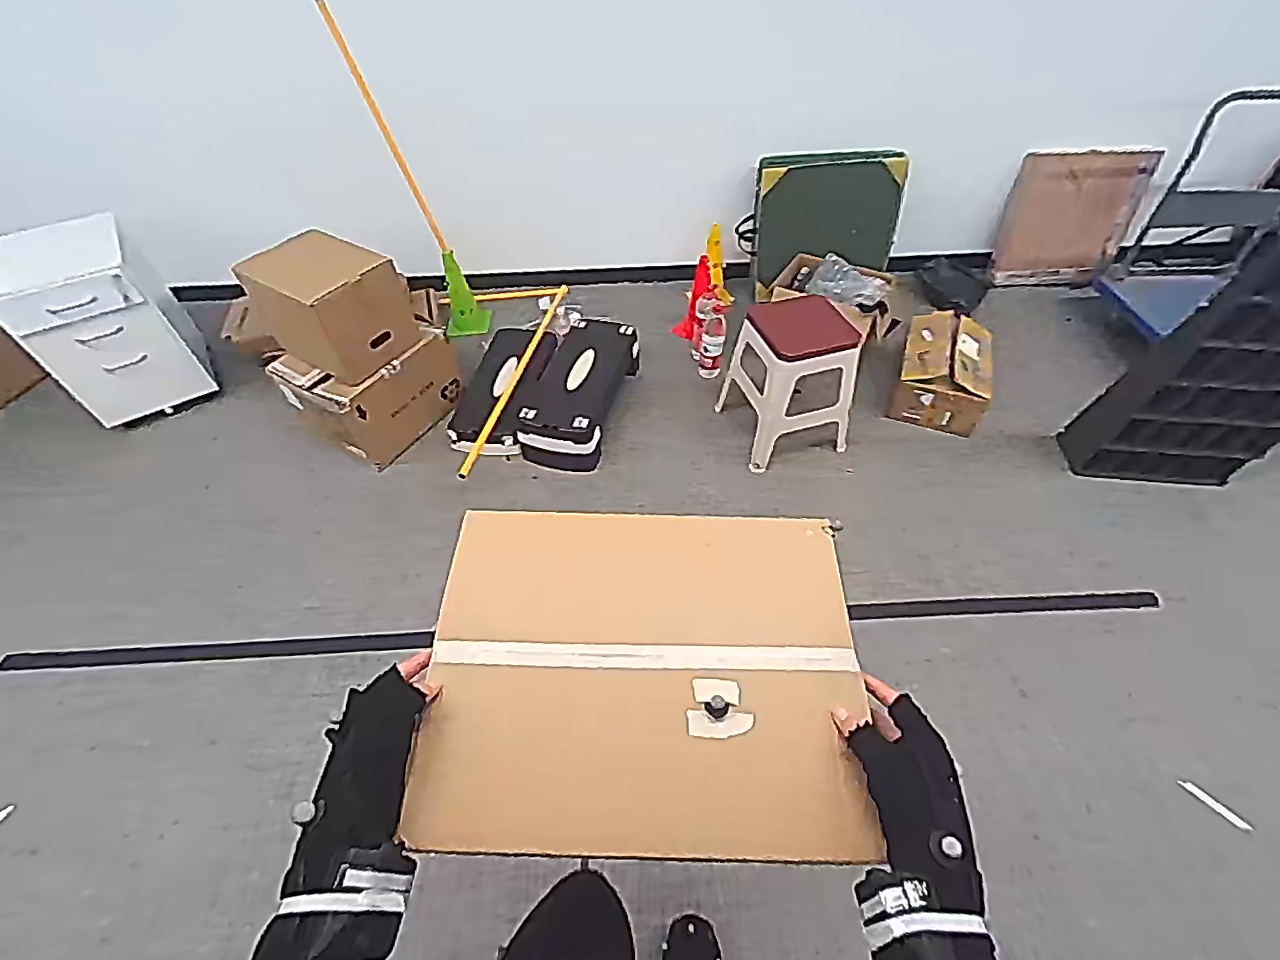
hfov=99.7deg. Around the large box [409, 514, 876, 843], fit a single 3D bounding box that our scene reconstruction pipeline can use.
[{"bbox_3d":[0.001,0.251,0.657,0.408,0.320,0.320,1,56,0],"label":"large box"}]
